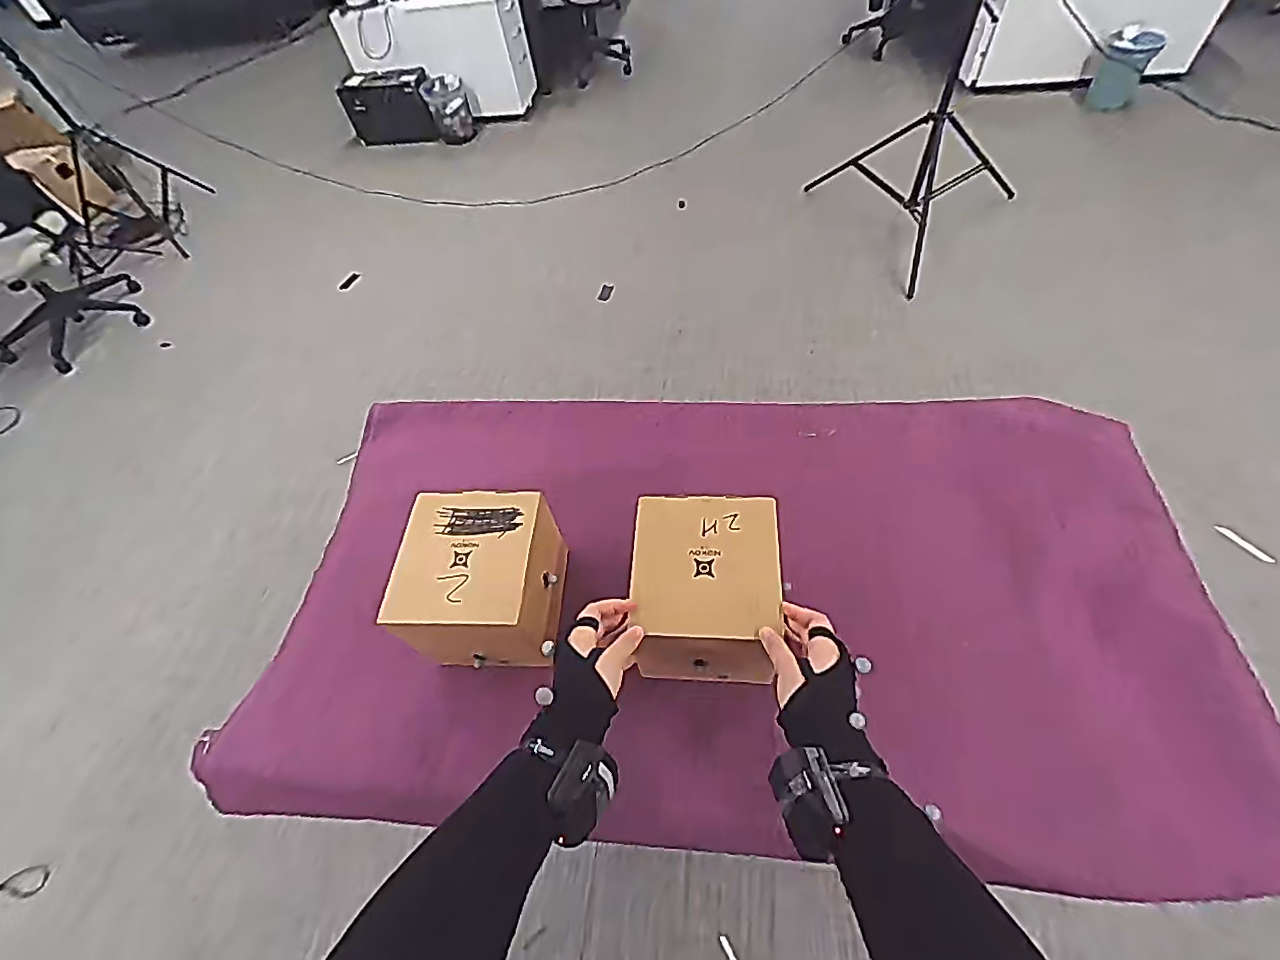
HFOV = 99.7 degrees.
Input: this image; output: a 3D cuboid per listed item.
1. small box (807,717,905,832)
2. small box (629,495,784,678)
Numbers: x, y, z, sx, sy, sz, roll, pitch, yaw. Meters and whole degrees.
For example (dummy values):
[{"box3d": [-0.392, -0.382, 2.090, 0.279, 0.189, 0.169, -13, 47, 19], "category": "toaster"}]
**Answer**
[{"box3d": [0.461, 0.641, 1.169, 0.168, 0.176, 0.179, 9, 57, 14], "category": "small box"}, {"box3d": [0.084, 0.137, 0.674, 0.168, 0.176, 0.179, 1, 55, 7], "category": "small box"}]
